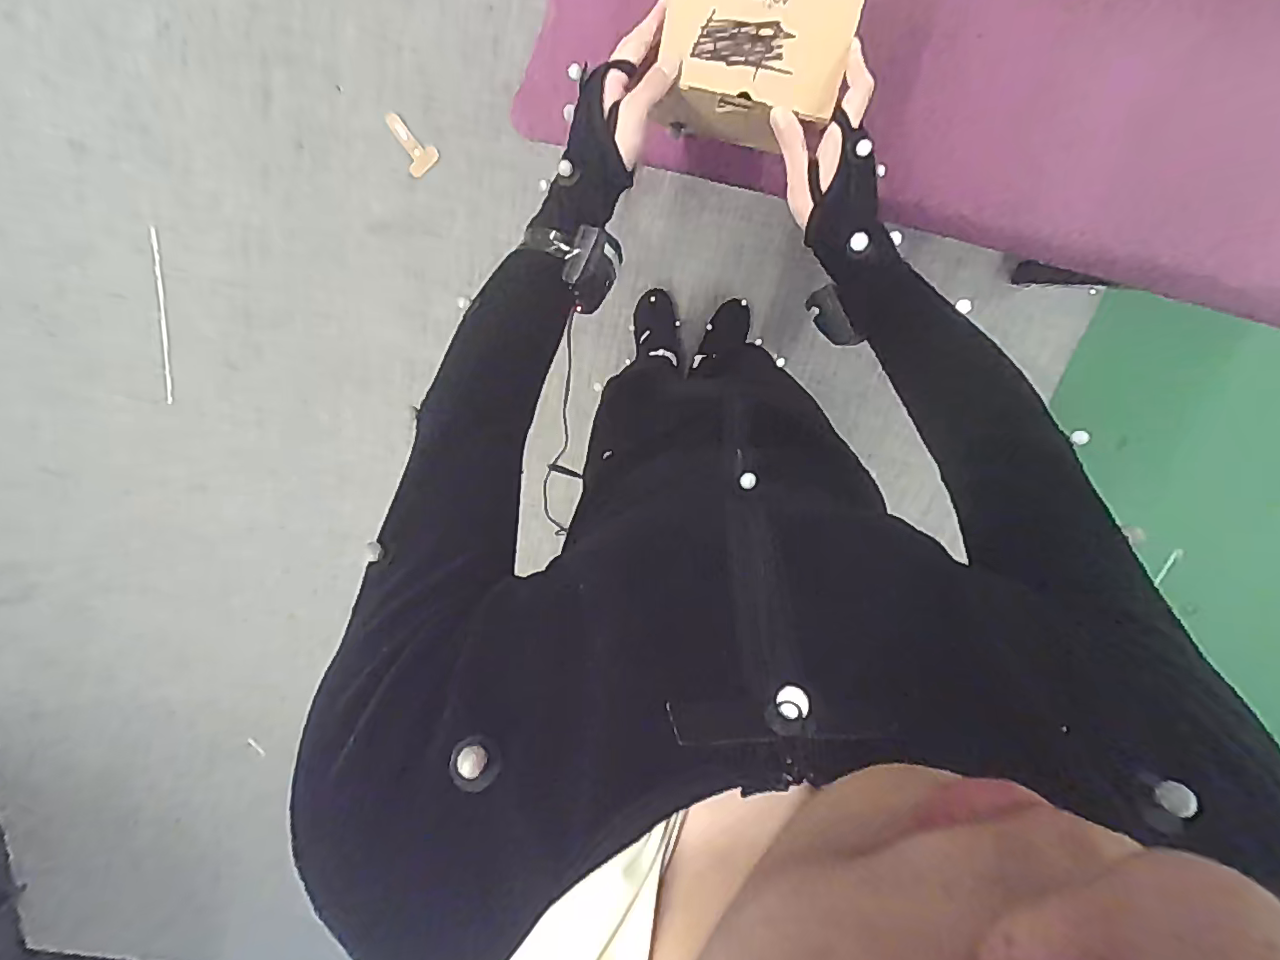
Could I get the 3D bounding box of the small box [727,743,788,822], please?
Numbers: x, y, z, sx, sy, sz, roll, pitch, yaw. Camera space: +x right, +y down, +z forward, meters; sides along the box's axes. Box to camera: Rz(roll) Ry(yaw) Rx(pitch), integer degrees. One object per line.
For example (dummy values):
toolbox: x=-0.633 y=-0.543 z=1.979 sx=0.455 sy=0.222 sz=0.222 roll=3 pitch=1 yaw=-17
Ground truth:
small box: x=0.426 y=1.113 z=1.995 sx=0.168 sy=0.176 sz=0.179 roll=13 pitch=112 yaw=-4

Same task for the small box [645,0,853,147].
small box: x=0.102 y=-0.450 z=0.529 sx=0.168 sy=0.176 sz=0.179 roll=10 pitch=112 yaw=-4
